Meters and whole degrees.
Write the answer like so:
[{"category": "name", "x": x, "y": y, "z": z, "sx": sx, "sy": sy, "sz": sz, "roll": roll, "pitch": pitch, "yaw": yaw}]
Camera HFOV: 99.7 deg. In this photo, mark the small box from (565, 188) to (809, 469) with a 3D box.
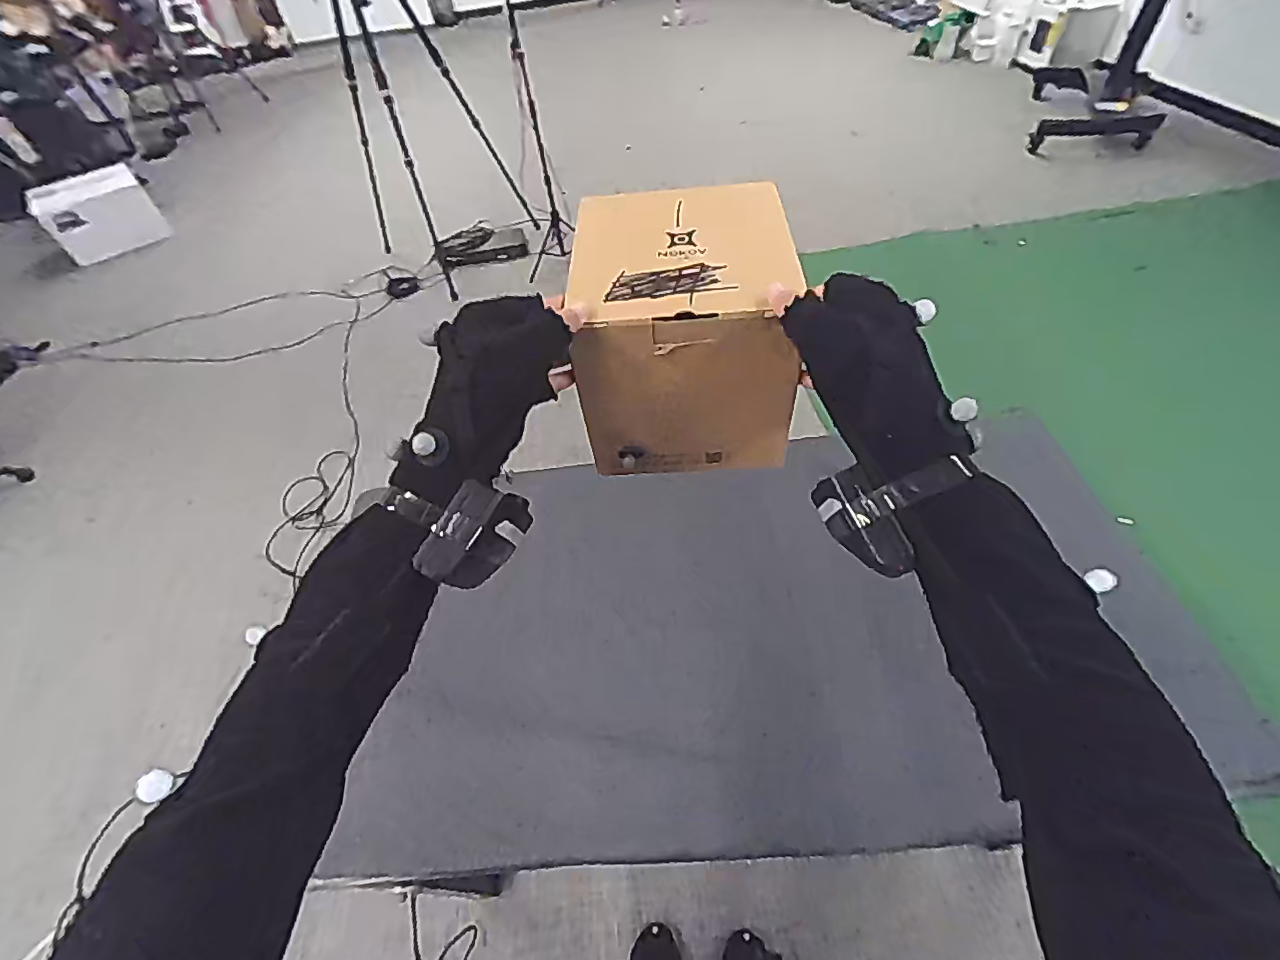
[{"category": "small box", "x": 0.040, "y": -0.121, "z": 0.468, "sx": 0.168, "sy": 0.176, "sz": 0.179, "roll": -2, "pitch": 53, "yaw": 4}]
